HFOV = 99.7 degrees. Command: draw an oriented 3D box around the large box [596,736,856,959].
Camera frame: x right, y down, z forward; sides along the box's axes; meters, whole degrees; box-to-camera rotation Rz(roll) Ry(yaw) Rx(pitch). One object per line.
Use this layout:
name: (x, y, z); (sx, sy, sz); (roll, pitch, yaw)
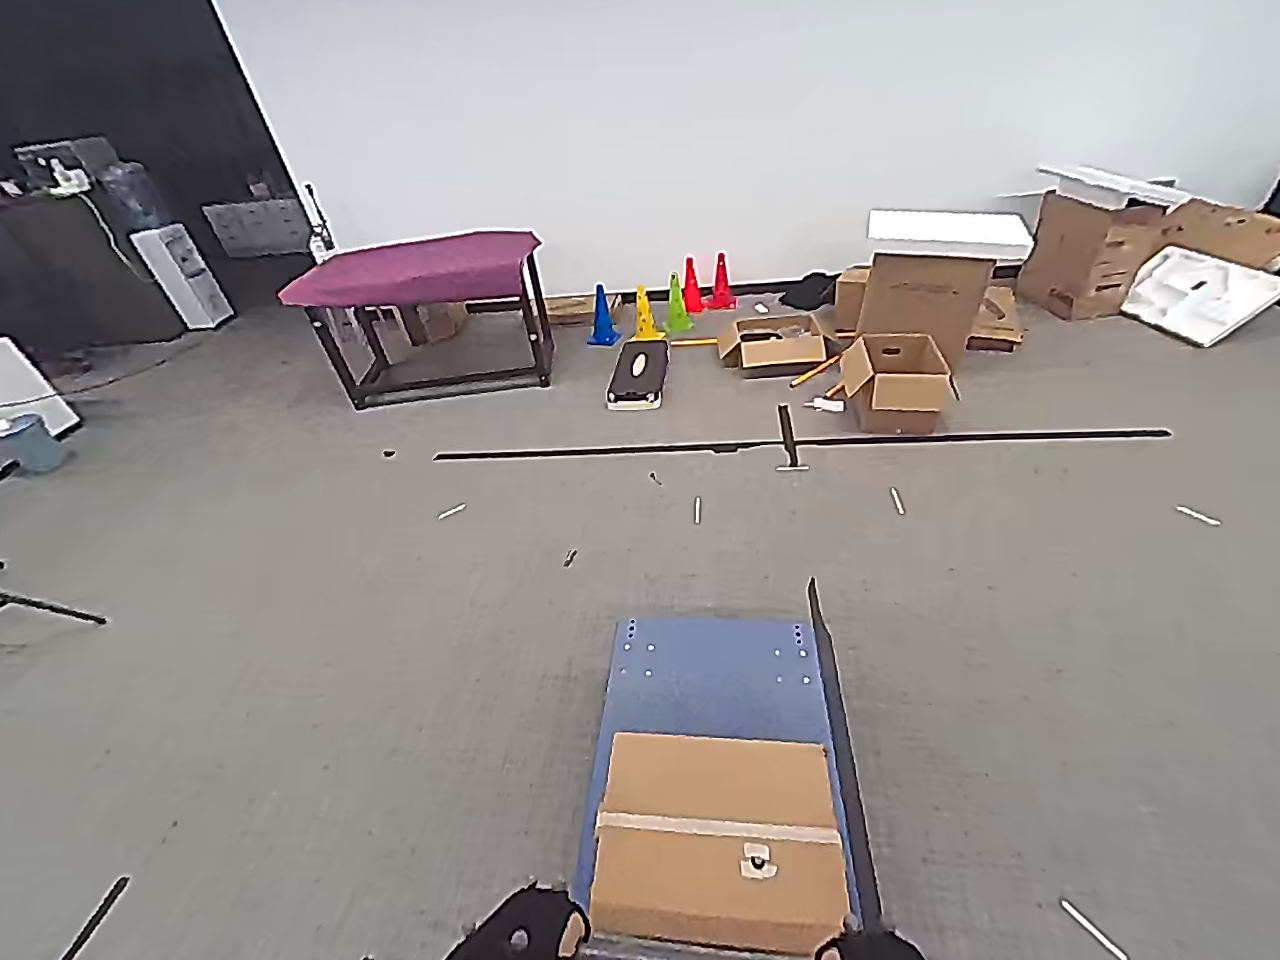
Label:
large box: (0.149, 0.720, 1.031); (0.408, 0.320, 0.320); (0, 40, 7)
